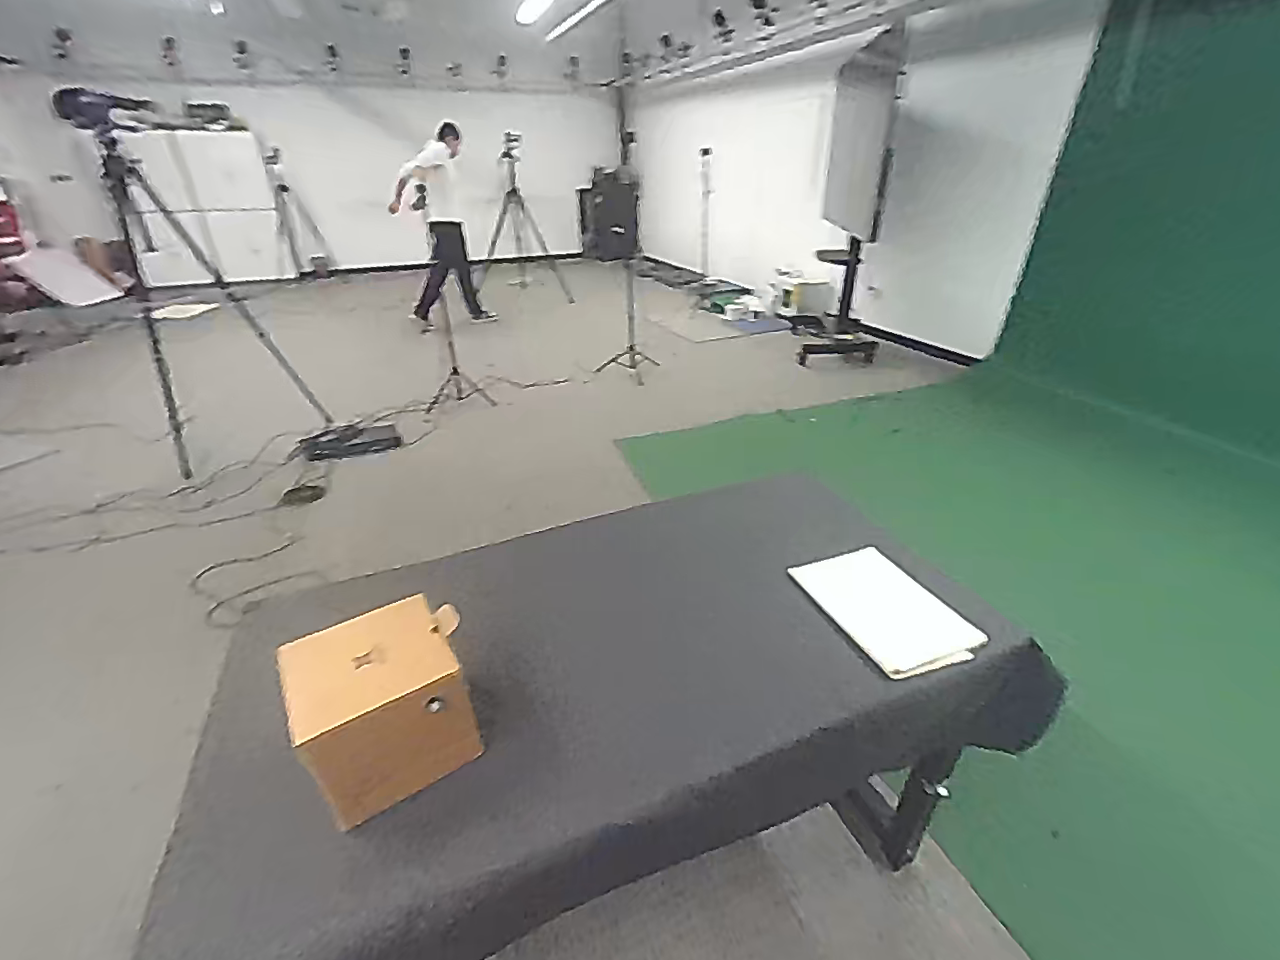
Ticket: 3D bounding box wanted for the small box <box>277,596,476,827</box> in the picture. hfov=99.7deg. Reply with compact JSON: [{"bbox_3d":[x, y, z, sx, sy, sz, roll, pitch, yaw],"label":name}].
[{"bbox_3d":[-0.328,0.286,0.685,0.179,0.176,0.168,-19,34,-31],"label":"small box"}]
